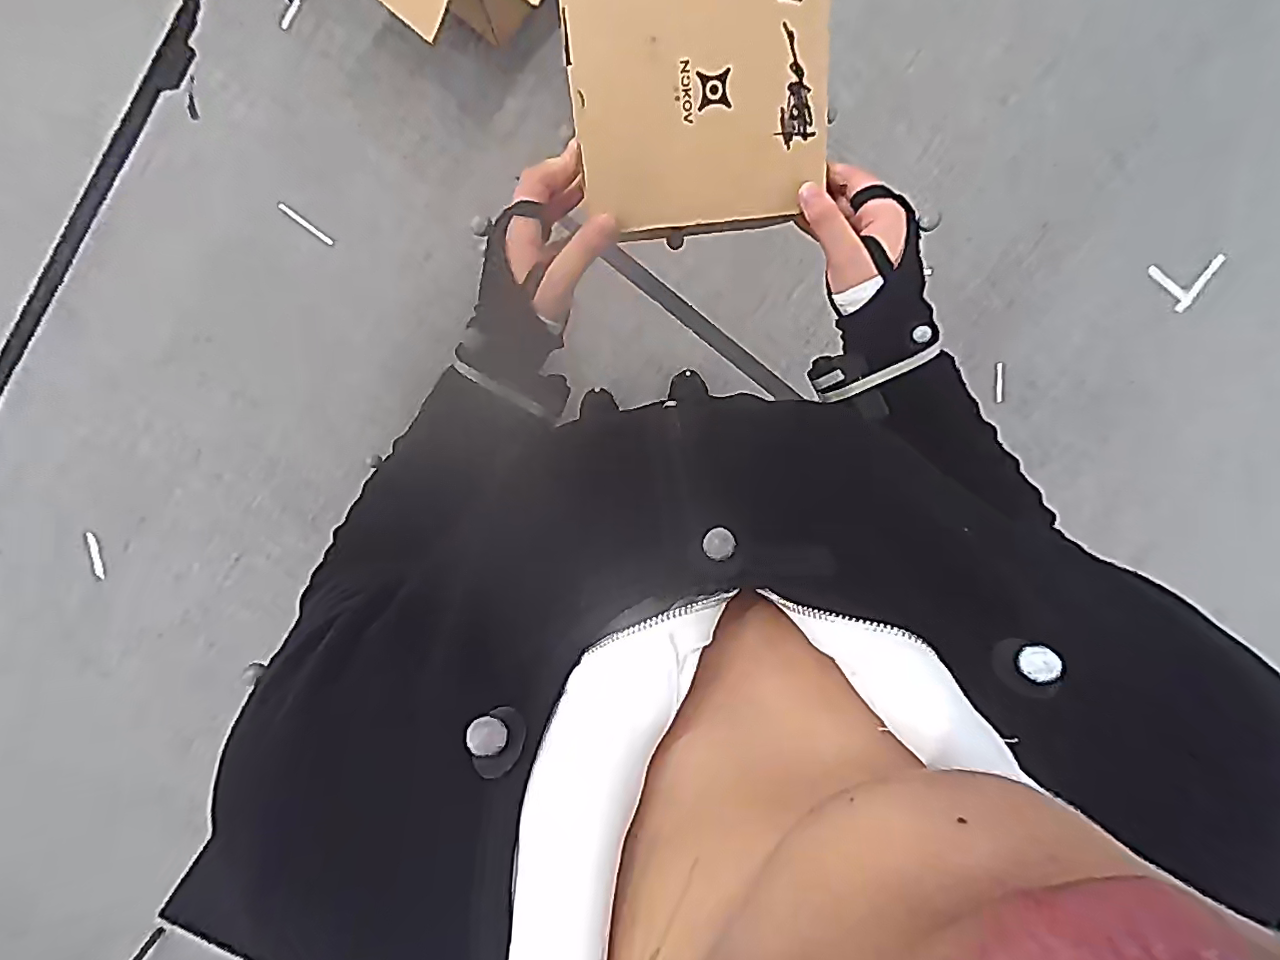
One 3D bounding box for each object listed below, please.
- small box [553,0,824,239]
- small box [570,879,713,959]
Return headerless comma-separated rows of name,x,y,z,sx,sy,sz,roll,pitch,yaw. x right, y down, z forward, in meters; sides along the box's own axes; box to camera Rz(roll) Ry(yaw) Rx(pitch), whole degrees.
small box,0.034,-0.295,0.438,0.179,0.176,0.168,-6,112,0
small box,0.000,0.765,0.827,0.179,0.176,0.168,36,98,-8
